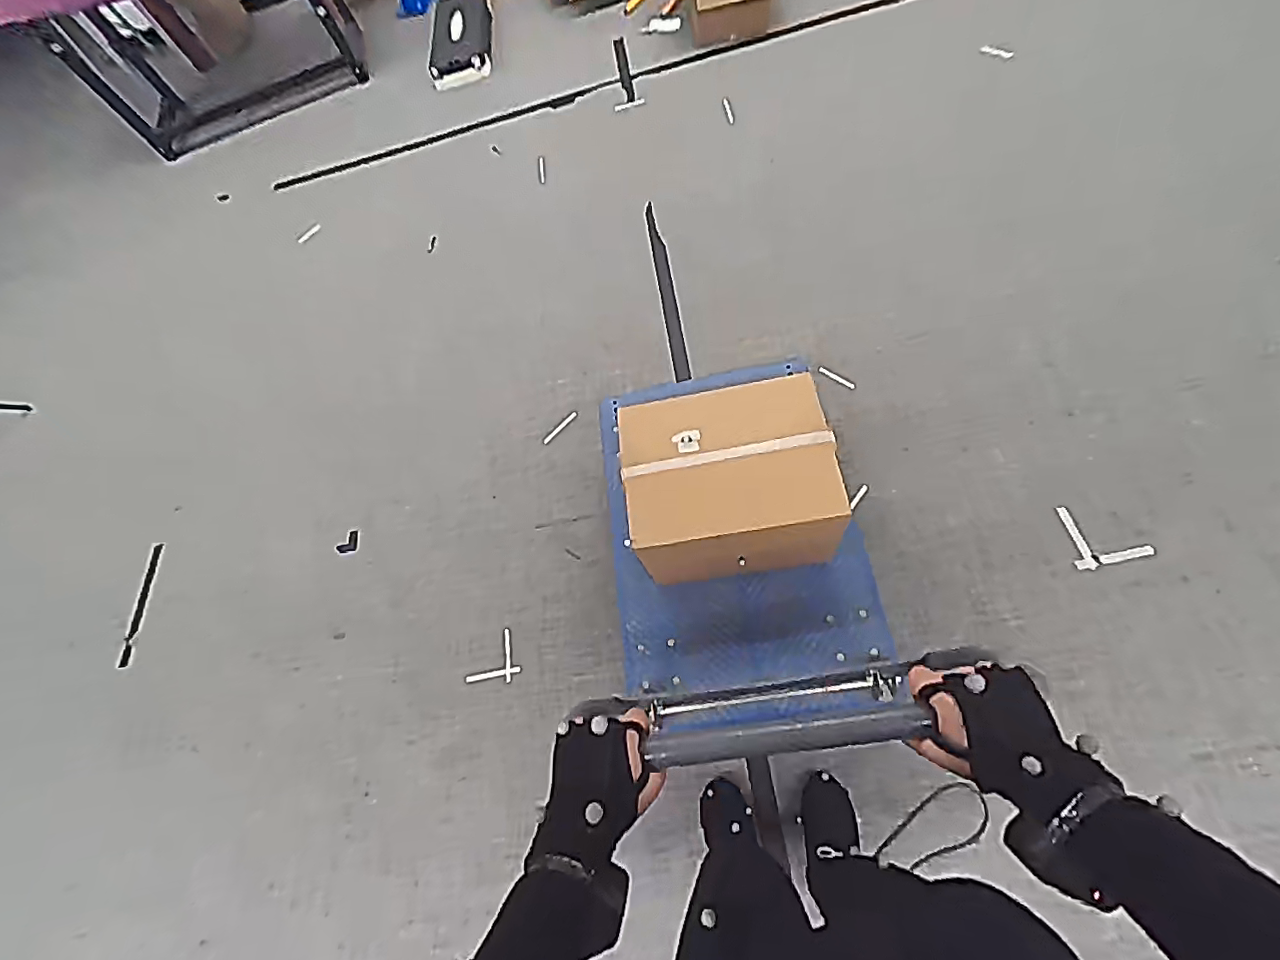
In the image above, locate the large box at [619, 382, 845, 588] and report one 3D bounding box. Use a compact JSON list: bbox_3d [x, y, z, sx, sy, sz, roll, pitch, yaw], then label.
[{"bbox_3d":[0.195,0.031,1.204,0.408,0.320,0.320,-11,63,8],"label":"large box"}]
